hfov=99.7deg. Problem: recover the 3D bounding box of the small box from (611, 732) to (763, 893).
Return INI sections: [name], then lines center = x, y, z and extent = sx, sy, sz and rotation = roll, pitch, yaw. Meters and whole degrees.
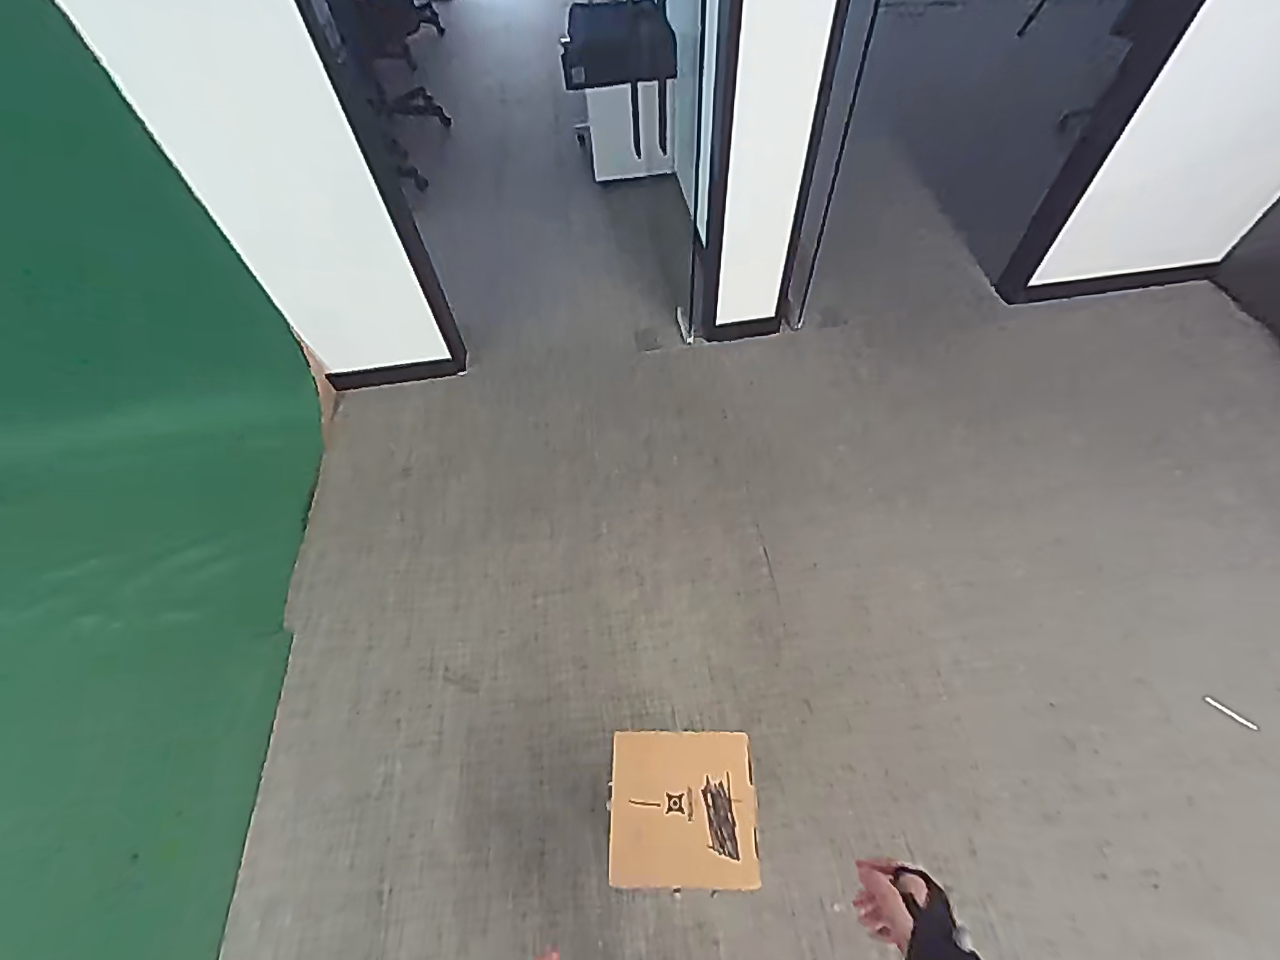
[small box]
center = 0.060, 0.443, 0.726
extent = 0.179, 0.176, 0.168
rotation = -2, 55, 5
